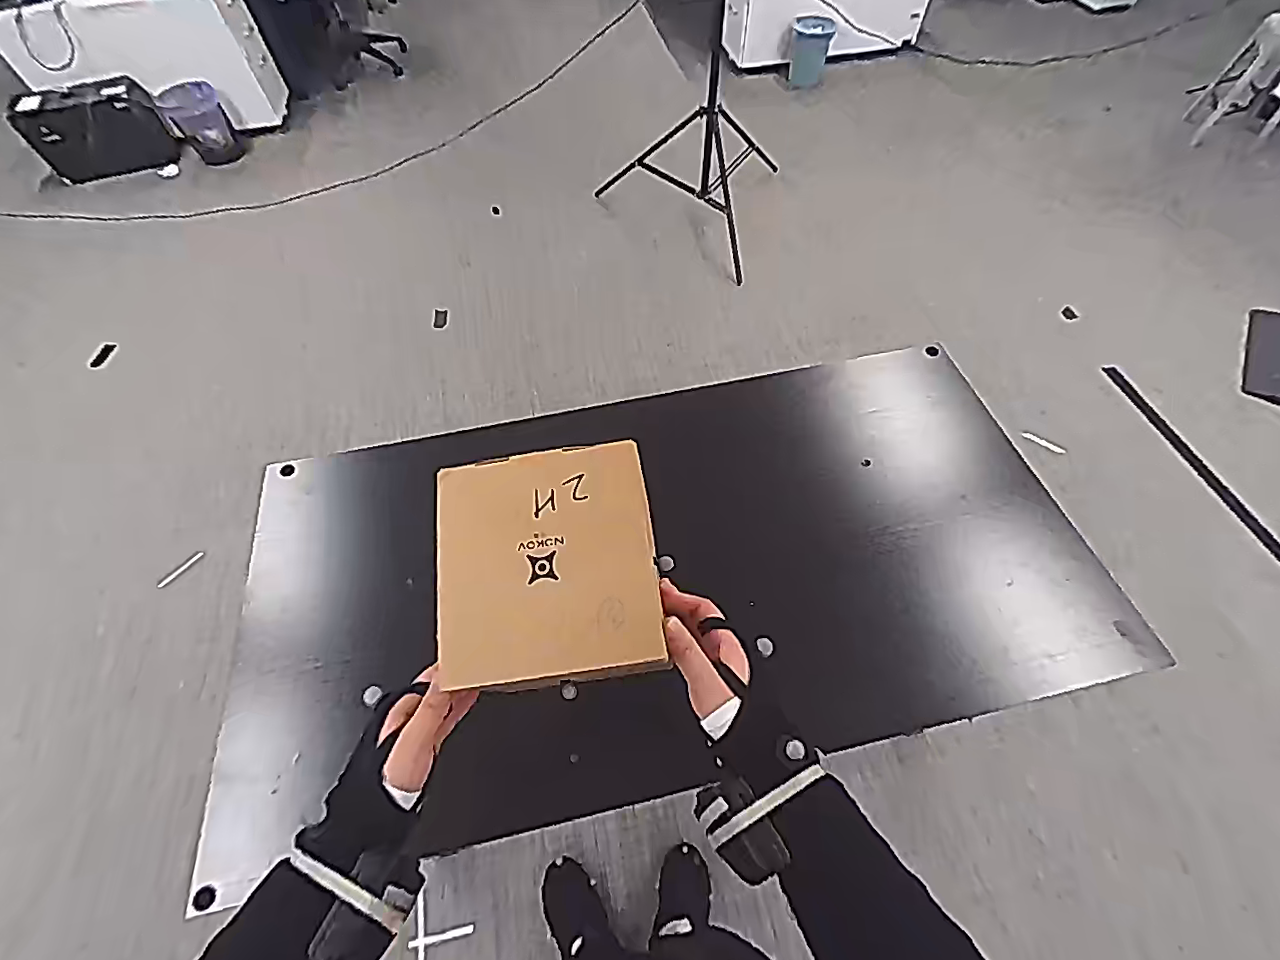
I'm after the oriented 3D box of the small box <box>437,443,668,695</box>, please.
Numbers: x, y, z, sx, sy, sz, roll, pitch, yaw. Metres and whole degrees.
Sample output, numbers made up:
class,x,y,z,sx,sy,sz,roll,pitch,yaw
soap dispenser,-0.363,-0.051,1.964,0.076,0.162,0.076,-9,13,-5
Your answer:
class,x,y,z,sx,sy,sz,roll,pitch,yaw
small box,-0.067,0.089,0.486,0.168,0.176,0.179,-8,68,1
